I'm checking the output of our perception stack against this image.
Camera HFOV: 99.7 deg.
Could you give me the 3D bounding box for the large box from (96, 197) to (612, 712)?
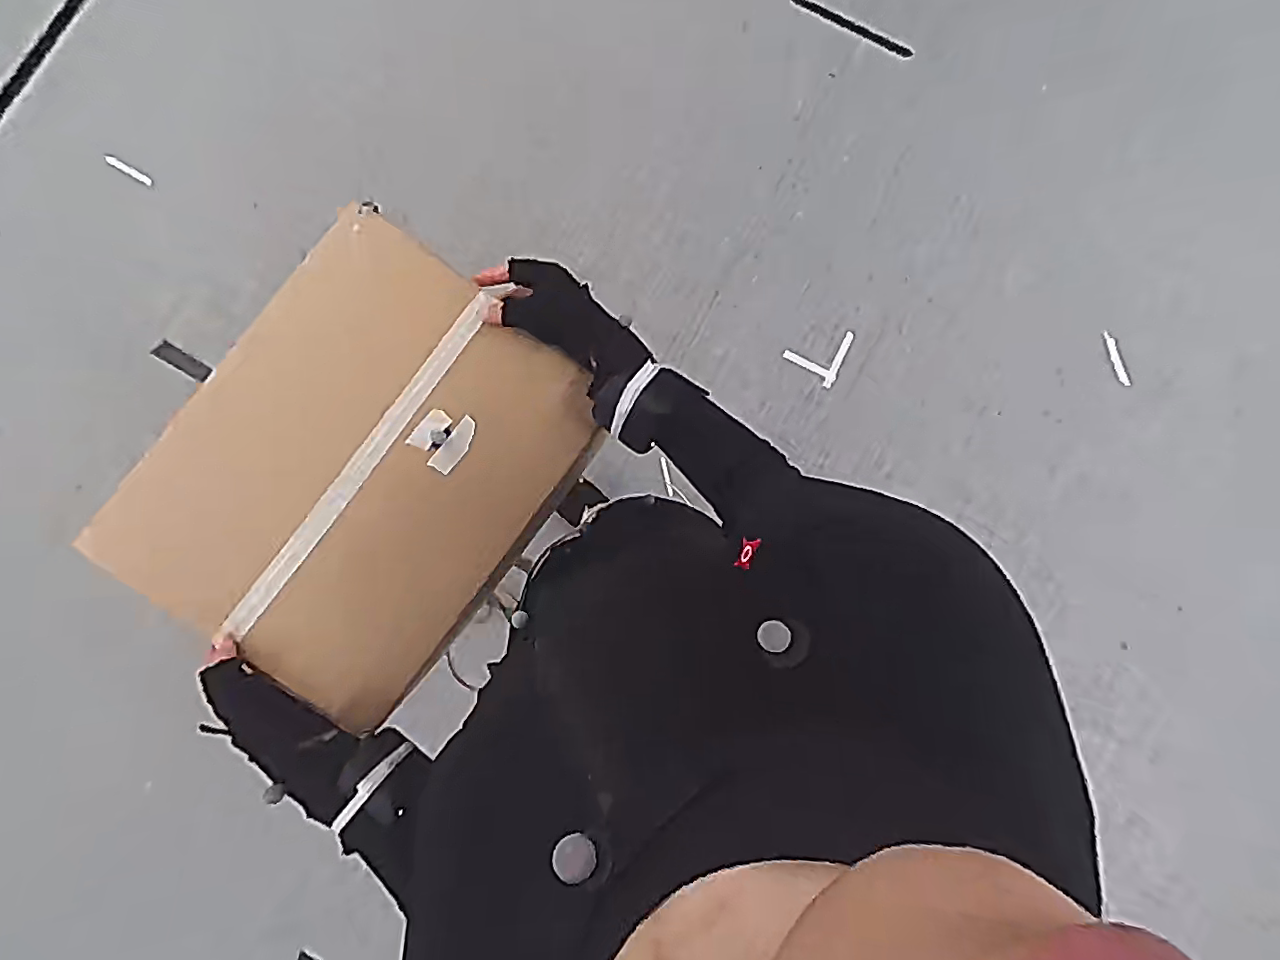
[{"bbox_3d":[-0.276,-0.021,0.662,0.320,0.320,0.408,36,85,-5],"label":"large box"}]
